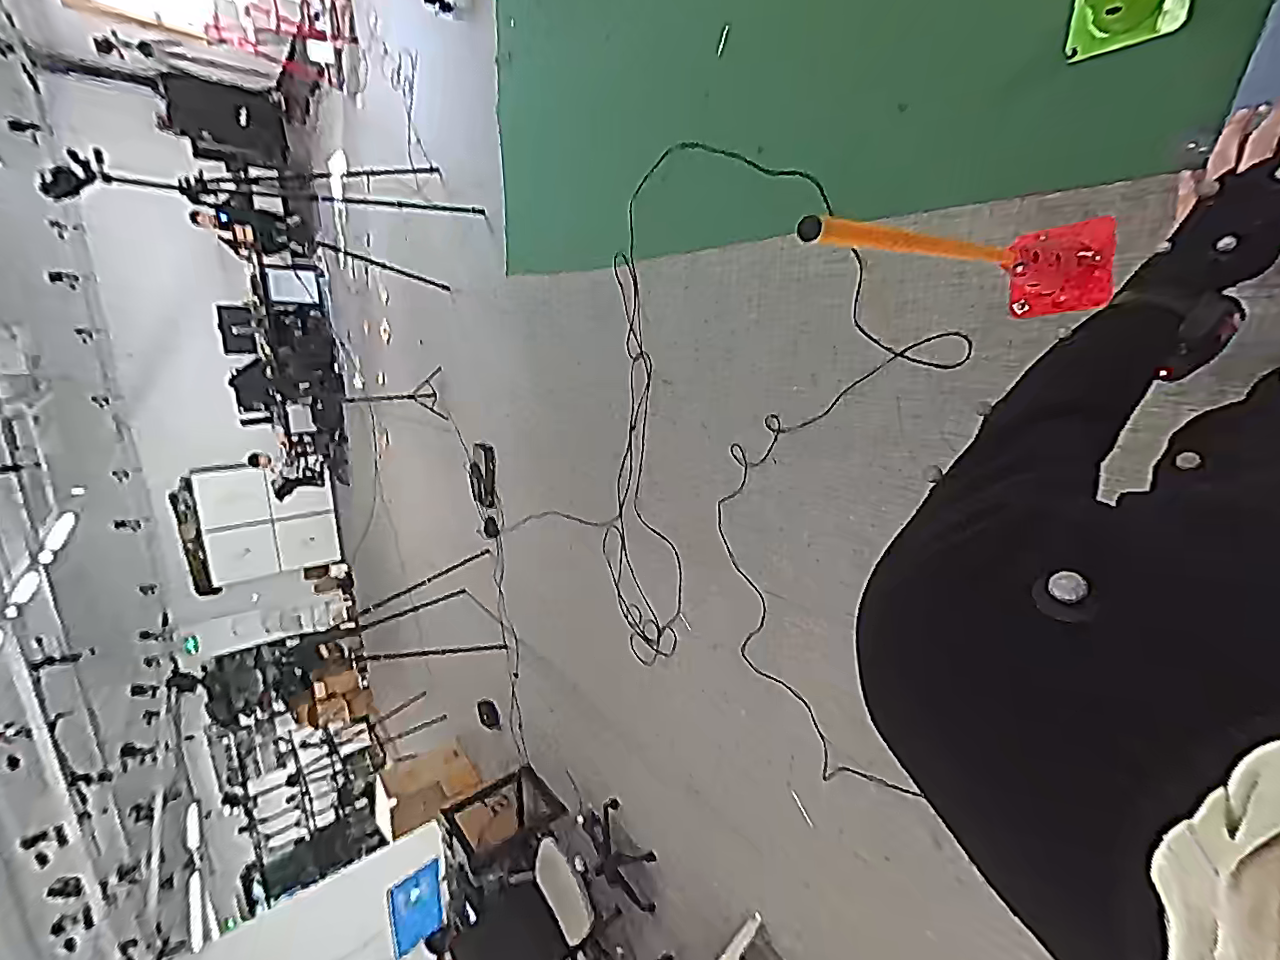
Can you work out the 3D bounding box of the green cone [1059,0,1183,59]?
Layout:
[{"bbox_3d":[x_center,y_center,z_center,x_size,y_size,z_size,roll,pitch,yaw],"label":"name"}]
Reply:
[{"bbox_3d":[0.878,-0.995,1.020,0.200,0.368,0.202,18,112,48],"label":"green cone"}]
